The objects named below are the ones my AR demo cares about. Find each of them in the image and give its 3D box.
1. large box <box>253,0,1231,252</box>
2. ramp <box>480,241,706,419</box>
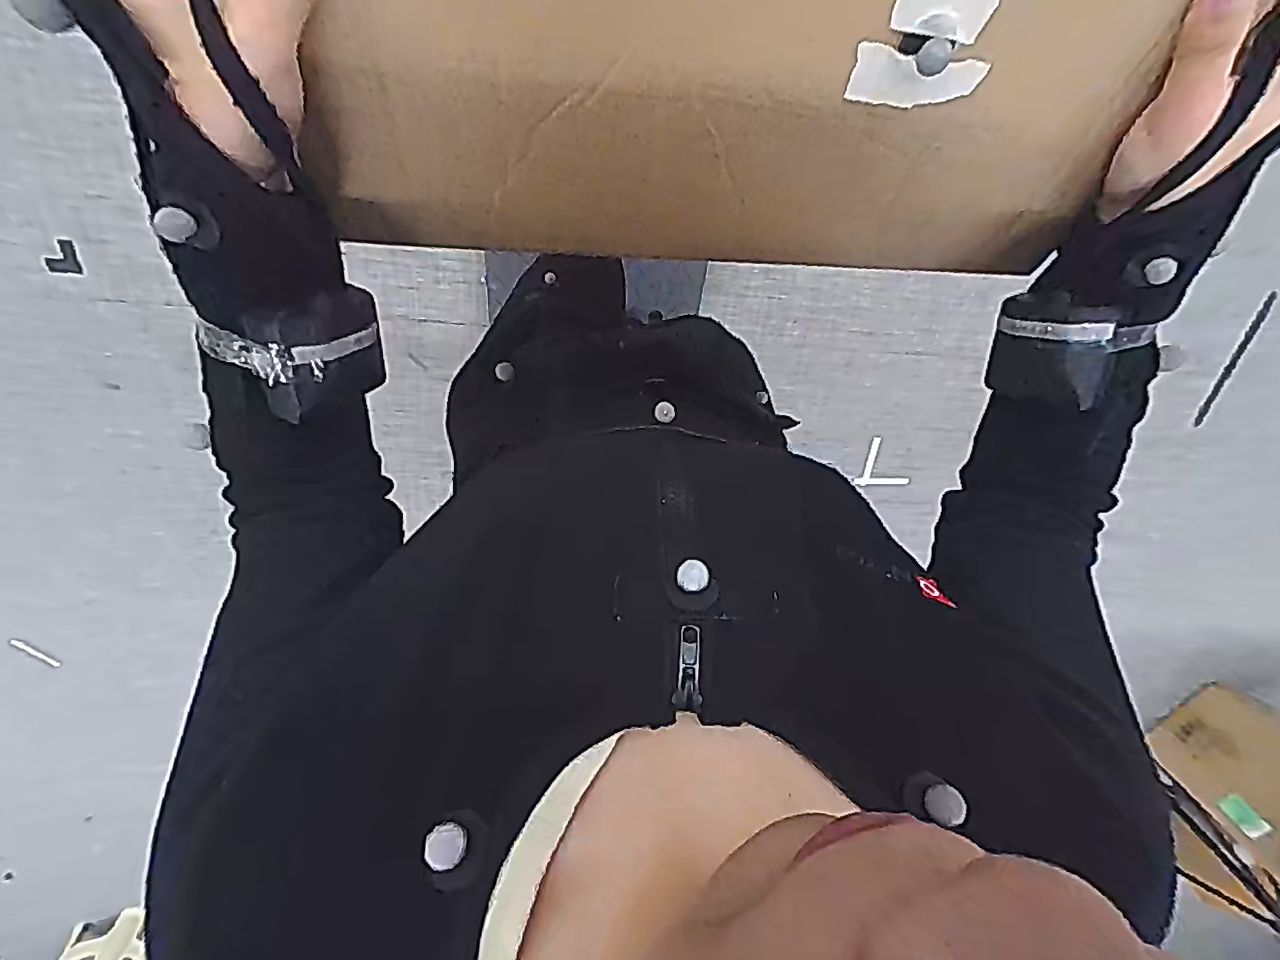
[{"bbox_3d":[0.041,-0.341,0.257,0.408,0.320,0.320,-1,152,-8],"label":"large box"},{"bbox_3d":[-0.089,-0.560,1.140,0.509,0.206,0.991,0,120,-8],"label":"ramp"}]
